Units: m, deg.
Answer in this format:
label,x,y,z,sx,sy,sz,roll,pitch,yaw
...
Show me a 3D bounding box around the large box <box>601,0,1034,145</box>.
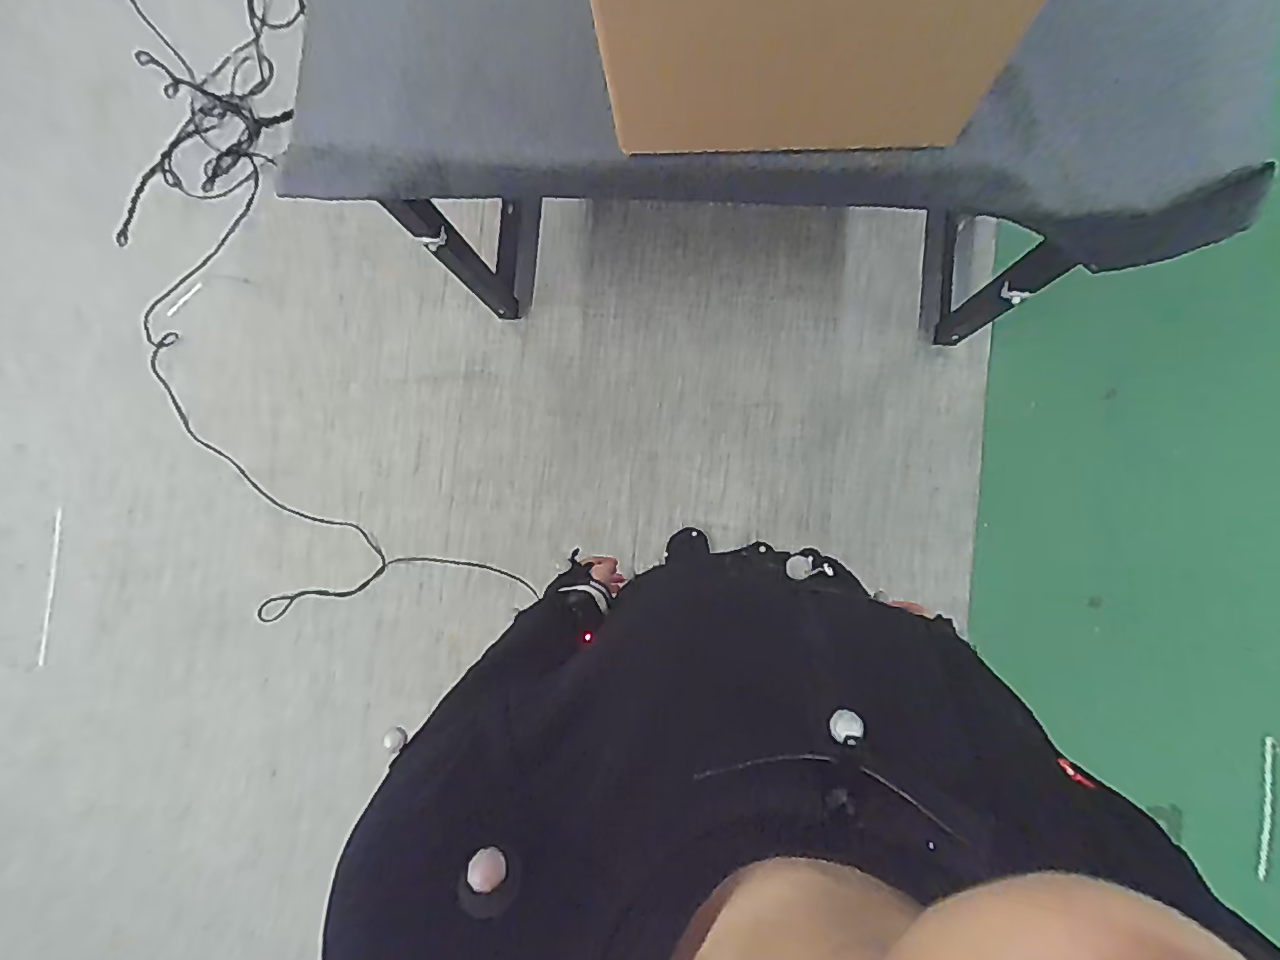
label,x,y,z,sx,sy,sz,roll,pitch,yaw
large box,0.165,-0.583,0.533,0.408,0.320,0.320,2,86,5
